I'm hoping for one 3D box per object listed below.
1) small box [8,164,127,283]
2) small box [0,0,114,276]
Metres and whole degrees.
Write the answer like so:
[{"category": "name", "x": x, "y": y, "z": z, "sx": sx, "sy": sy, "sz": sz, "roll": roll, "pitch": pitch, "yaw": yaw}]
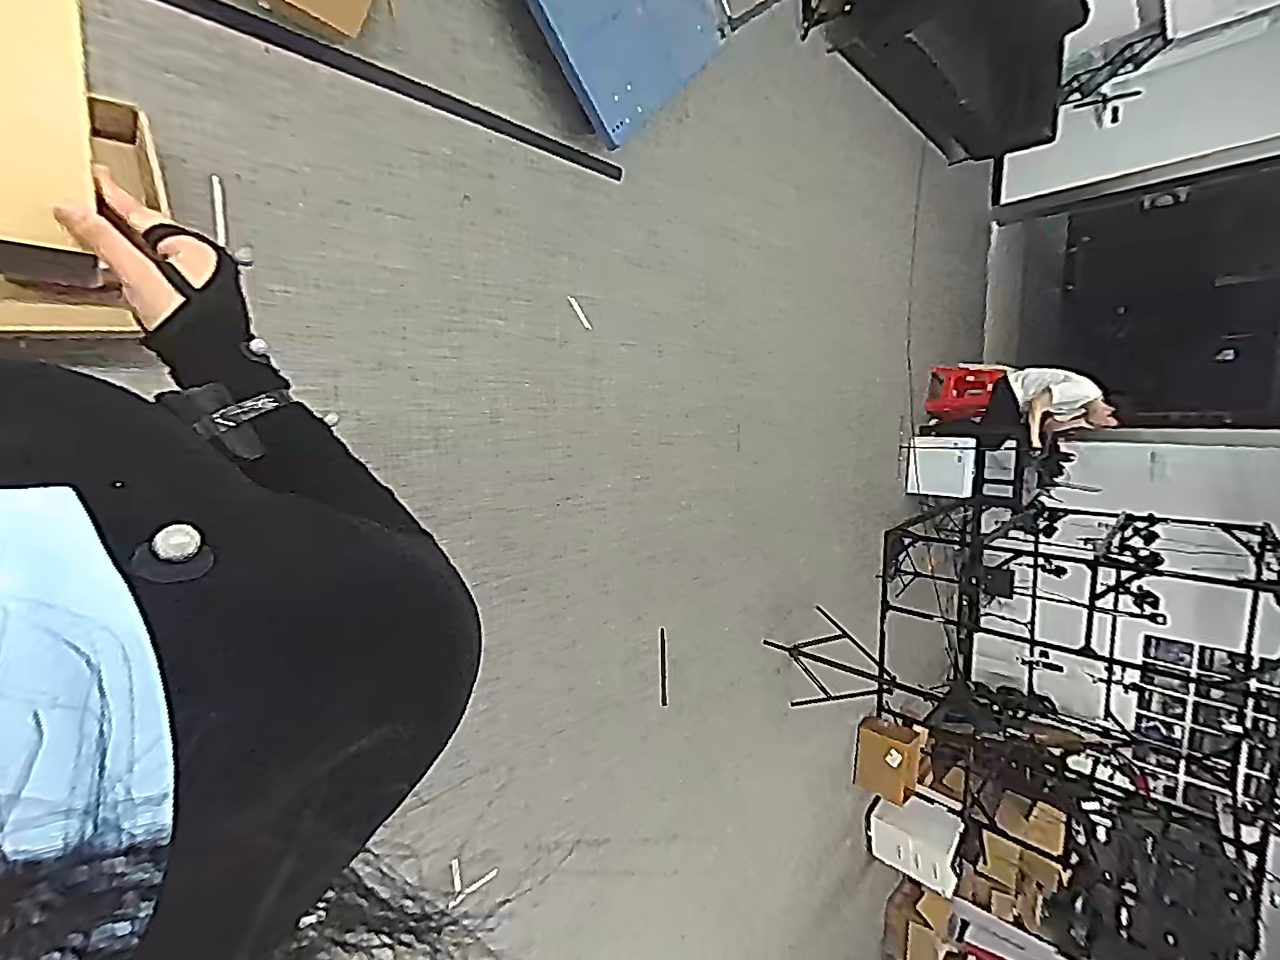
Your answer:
[{"category": "small box", "x": -1.013, "y": -0.450, "z": 0.934, "sx": 0.168, "sy": 0.176, "sz": 0.179, "roll": -12, "pitch": 102, "yaw": -44}, {"category": "small box", "x": -0.482, "y": -0.242, "z": 0.363, "sx": 0.179, "sy": 0.176, "sz": 0.168, "roll": -4, "pitch": 101, "yaw": -43}]
